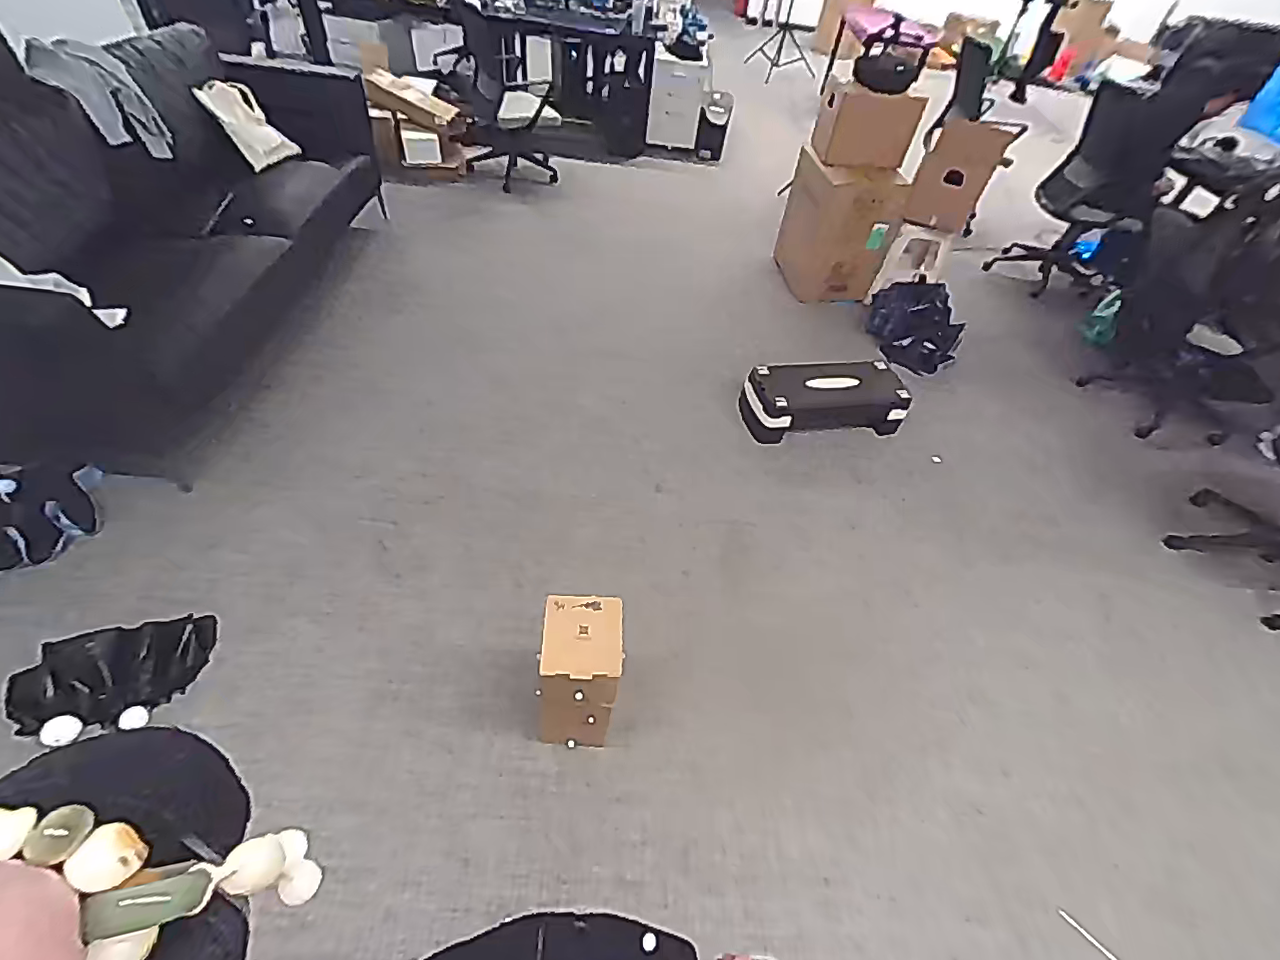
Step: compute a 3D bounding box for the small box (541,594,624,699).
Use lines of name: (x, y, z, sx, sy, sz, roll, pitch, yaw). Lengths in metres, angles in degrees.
small box: (-0.121, 0.366, 1.173, 0.168, 0.176, 0.179, 2, 50, -5)

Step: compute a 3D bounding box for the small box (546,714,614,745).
small box: (-0.152, 0.576, 1.419, 0.168, 0.176, 0.179, 4, 49, -3)

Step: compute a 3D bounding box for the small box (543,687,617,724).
small box: (-0.137, 0.471, 1.297, 0.168, 0.176, 0.179, 4, 48, -4)
